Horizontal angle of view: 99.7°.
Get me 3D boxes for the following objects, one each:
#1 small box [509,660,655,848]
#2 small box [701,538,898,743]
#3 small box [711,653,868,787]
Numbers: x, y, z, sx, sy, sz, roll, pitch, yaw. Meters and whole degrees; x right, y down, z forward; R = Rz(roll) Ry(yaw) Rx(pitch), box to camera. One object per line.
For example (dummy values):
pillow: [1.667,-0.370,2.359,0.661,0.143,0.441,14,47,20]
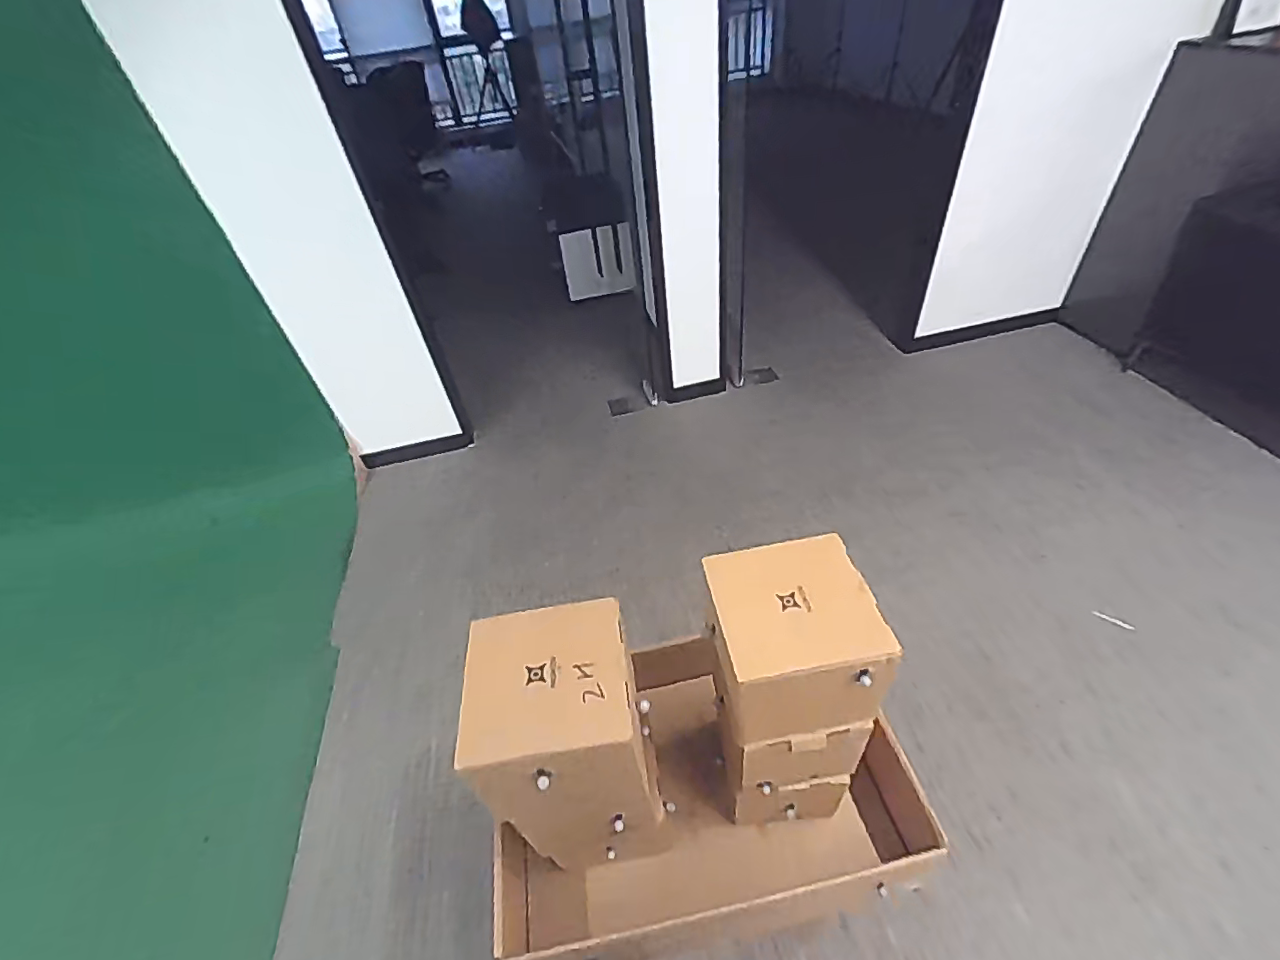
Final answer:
small box: [-0.078,0.381,0.746,0.168,0.176,0.179,-10,43,-4]
small box: [0.180,0.199,0.663,0.179,0.176,0.168,-10,43,-3]
small box: [0.201,0.317,0.773,0.168,0.176,0.179,-10,42,-1]
